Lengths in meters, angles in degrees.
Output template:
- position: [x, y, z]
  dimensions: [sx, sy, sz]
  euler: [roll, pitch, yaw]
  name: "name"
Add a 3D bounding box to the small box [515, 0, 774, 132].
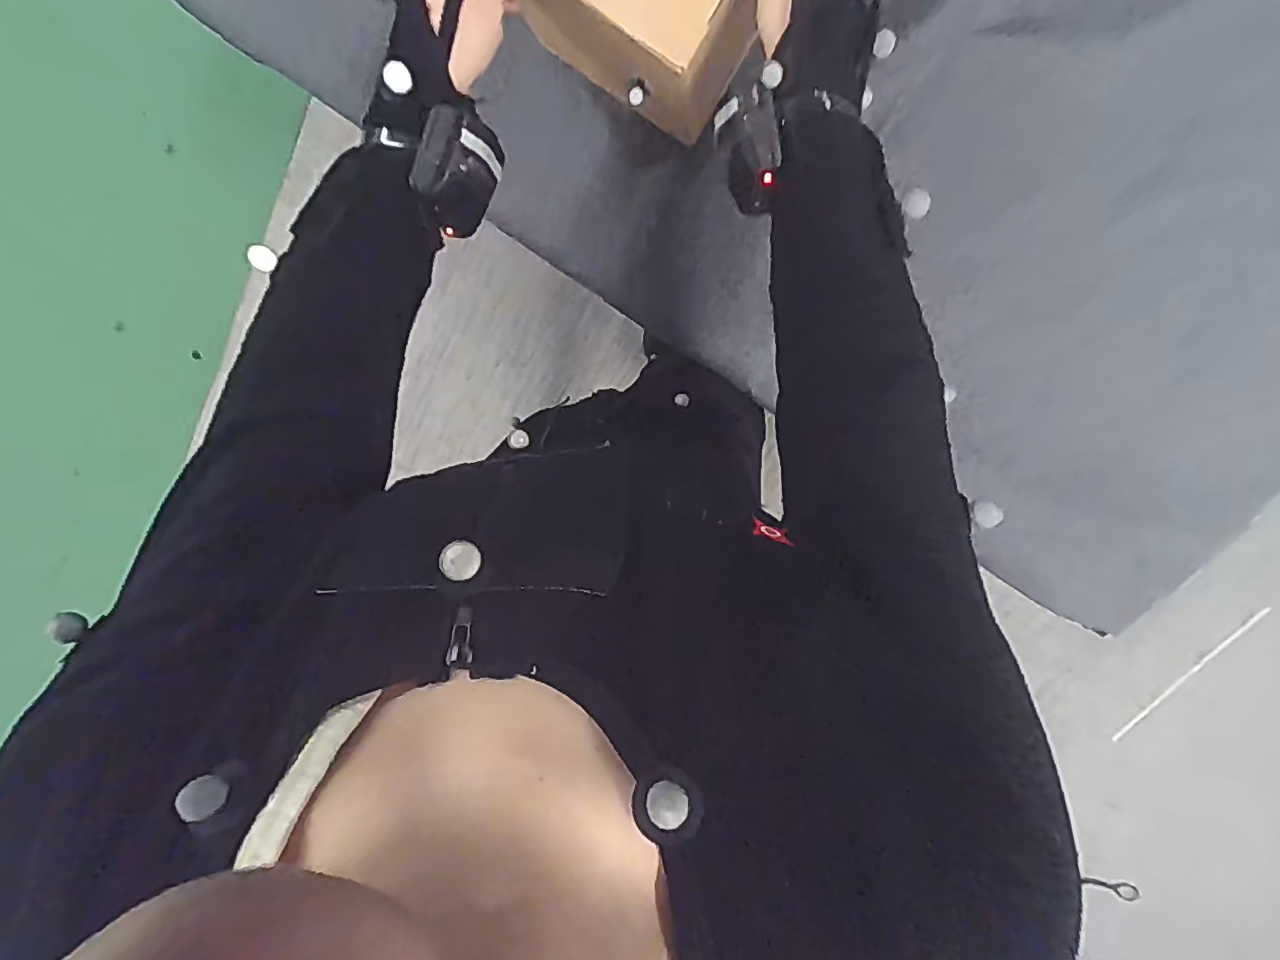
- position: [0.011, -0.406, 0.414]
  dimensions: [0.179, 0.176, 0.168]
  euler: [32, 105, -2]
  name: "small box"
